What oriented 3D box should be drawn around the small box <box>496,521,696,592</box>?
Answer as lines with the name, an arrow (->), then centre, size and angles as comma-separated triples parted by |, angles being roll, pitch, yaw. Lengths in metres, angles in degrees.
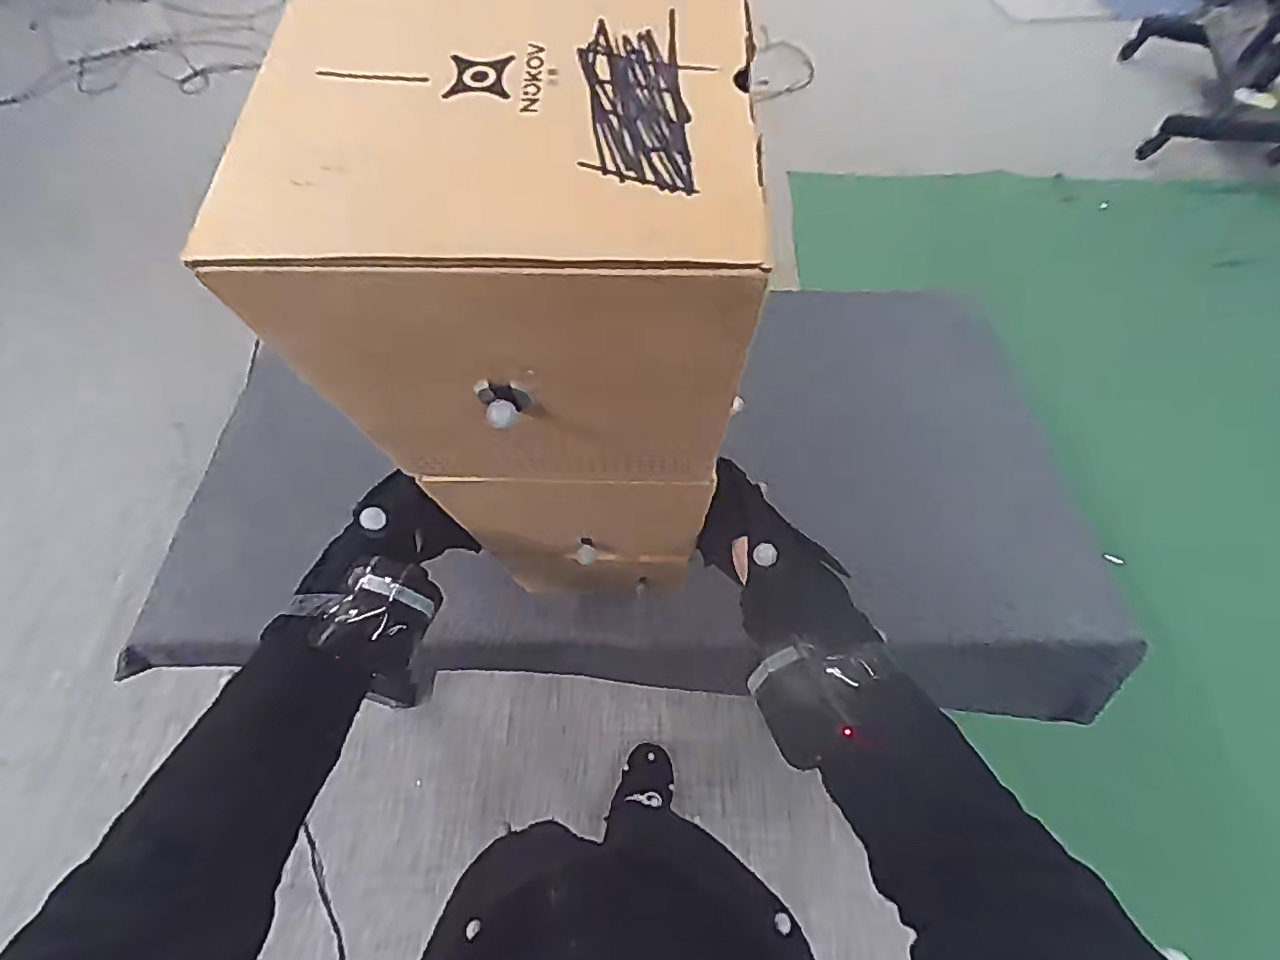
small box -> -0.035, 0.021, 0.572 | 0.179, 0.176, 0.168 | 0, 67, 2

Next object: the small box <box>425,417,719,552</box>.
small box -> -0.040, -0.046, 0.422 | 0.179, 0.176, 0.168 | 1, 66, 0

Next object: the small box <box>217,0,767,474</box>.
small box -> -0.044, -0.109, 0.271 | 0.179, 0.176, 0.168 | 0, 68, 2
